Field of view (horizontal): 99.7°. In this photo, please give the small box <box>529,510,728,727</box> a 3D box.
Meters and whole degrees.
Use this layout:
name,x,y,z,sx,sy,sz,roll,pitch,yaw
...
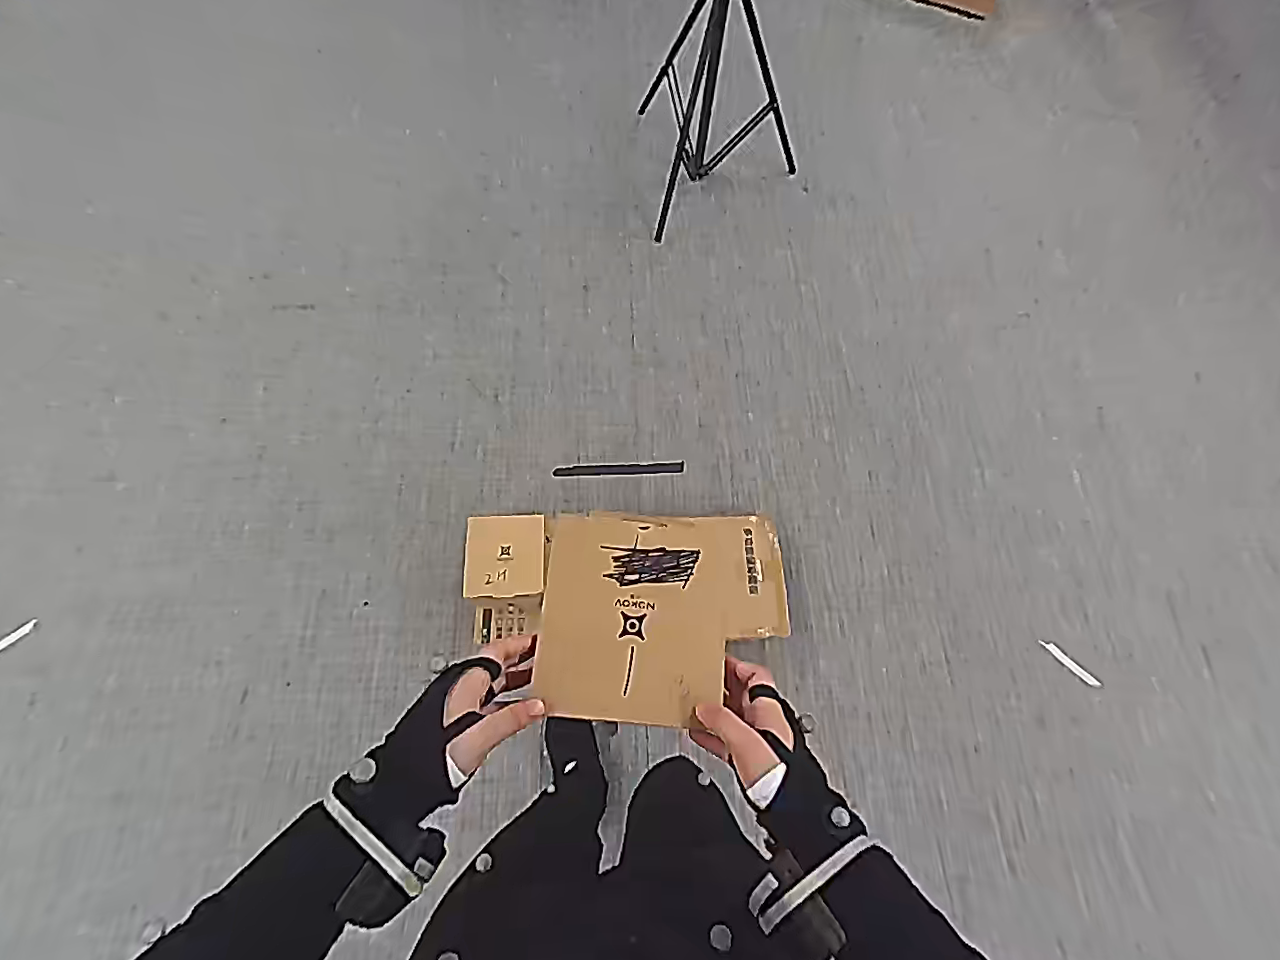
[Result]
name,x,y,z,sx,sy,sz,roll,pitch,yaw
small box,-0.012,0.147,0.556,0.168,0.176,0.179,7,69,-3

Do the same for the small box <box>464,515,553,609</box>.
name,x,y,z,sx,sy,sz,roll,pitch,yaw
small box,-0.287,0.188,1.217,0.168,0.176,0.179,-2,70,-3
